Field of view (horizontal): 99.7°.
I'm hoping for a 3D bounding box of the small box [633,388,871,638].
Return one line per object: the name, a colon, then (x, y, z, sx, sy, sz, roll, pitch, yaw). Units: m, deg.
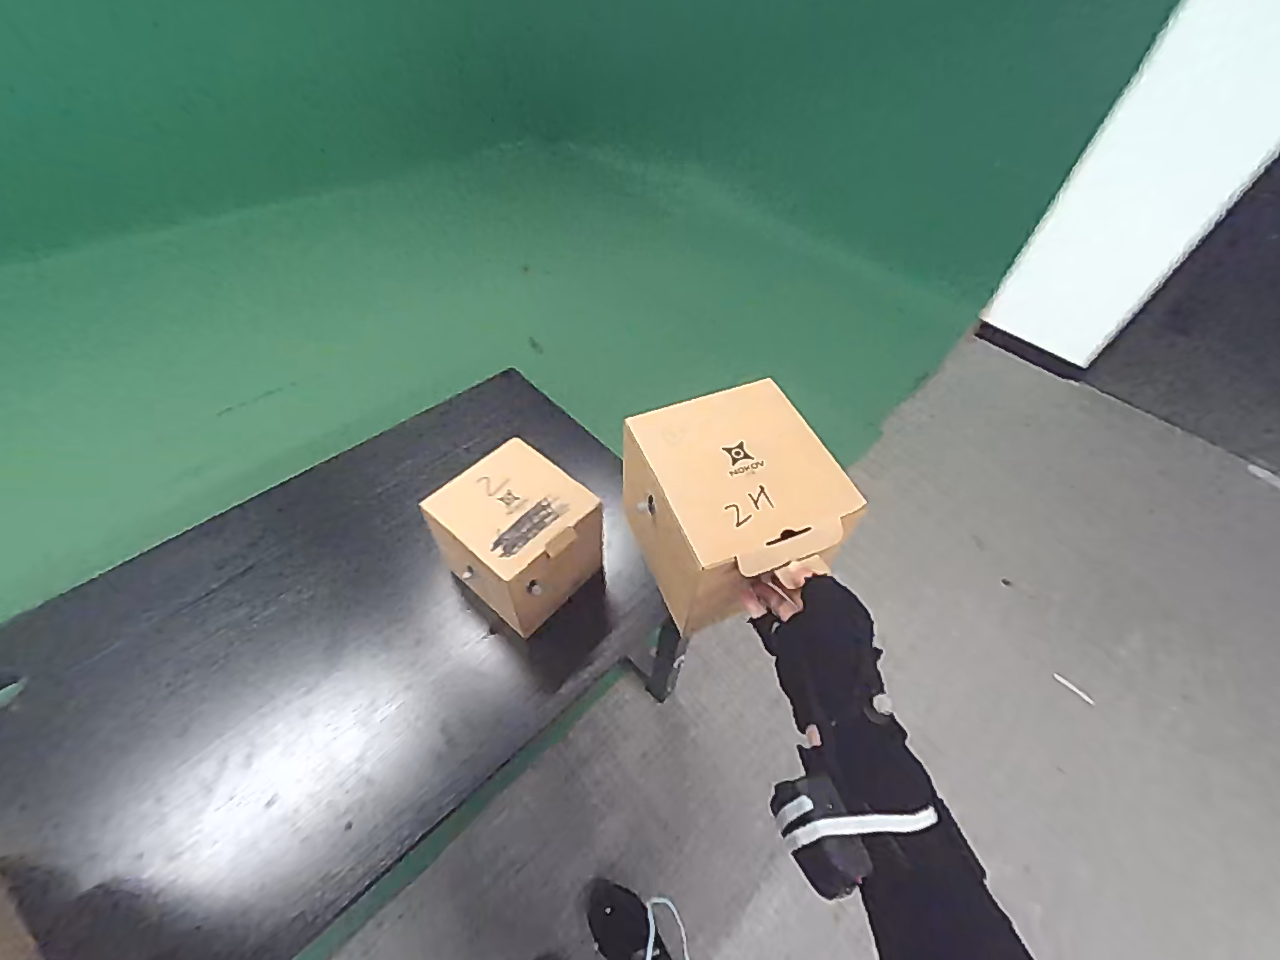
small box: (0.096, 0.036, 0.566, 0.168, 0.176, 0.179, -17, 58, -14)
